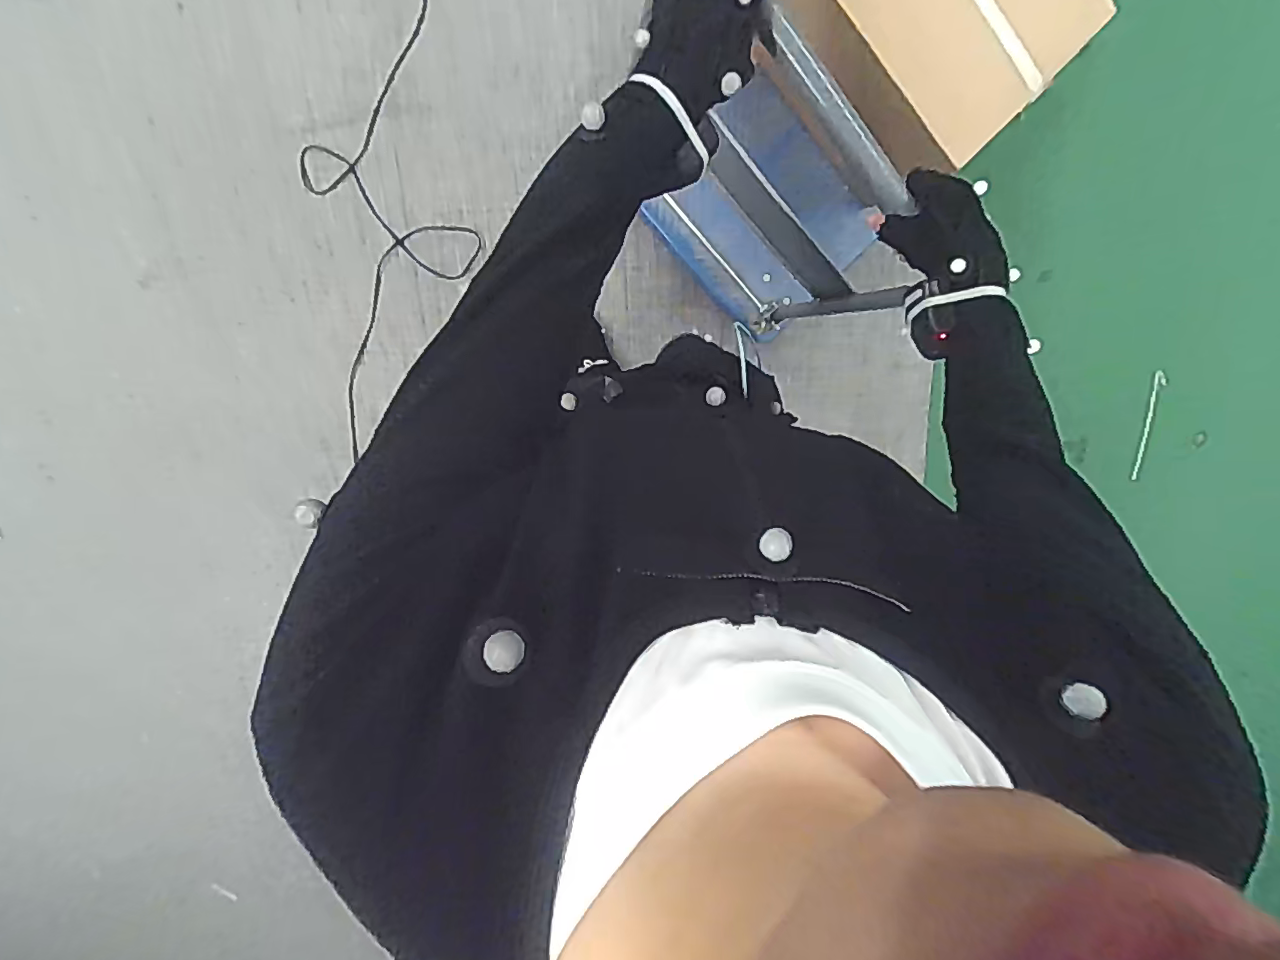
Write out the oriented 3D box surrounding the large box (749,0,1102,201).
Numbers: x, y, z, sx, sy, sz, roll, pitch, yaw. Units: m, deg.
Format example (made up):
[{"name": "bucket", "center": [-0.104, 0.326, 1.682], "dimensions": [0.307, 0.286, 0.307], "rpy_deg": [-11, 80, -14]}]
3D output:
[{"name": "large box", "center": [0.466, -0.789, 0.960], "dimensions": [0.408, 0.320, 0.320], "rpy_deg": [43, 99, -14]}]
